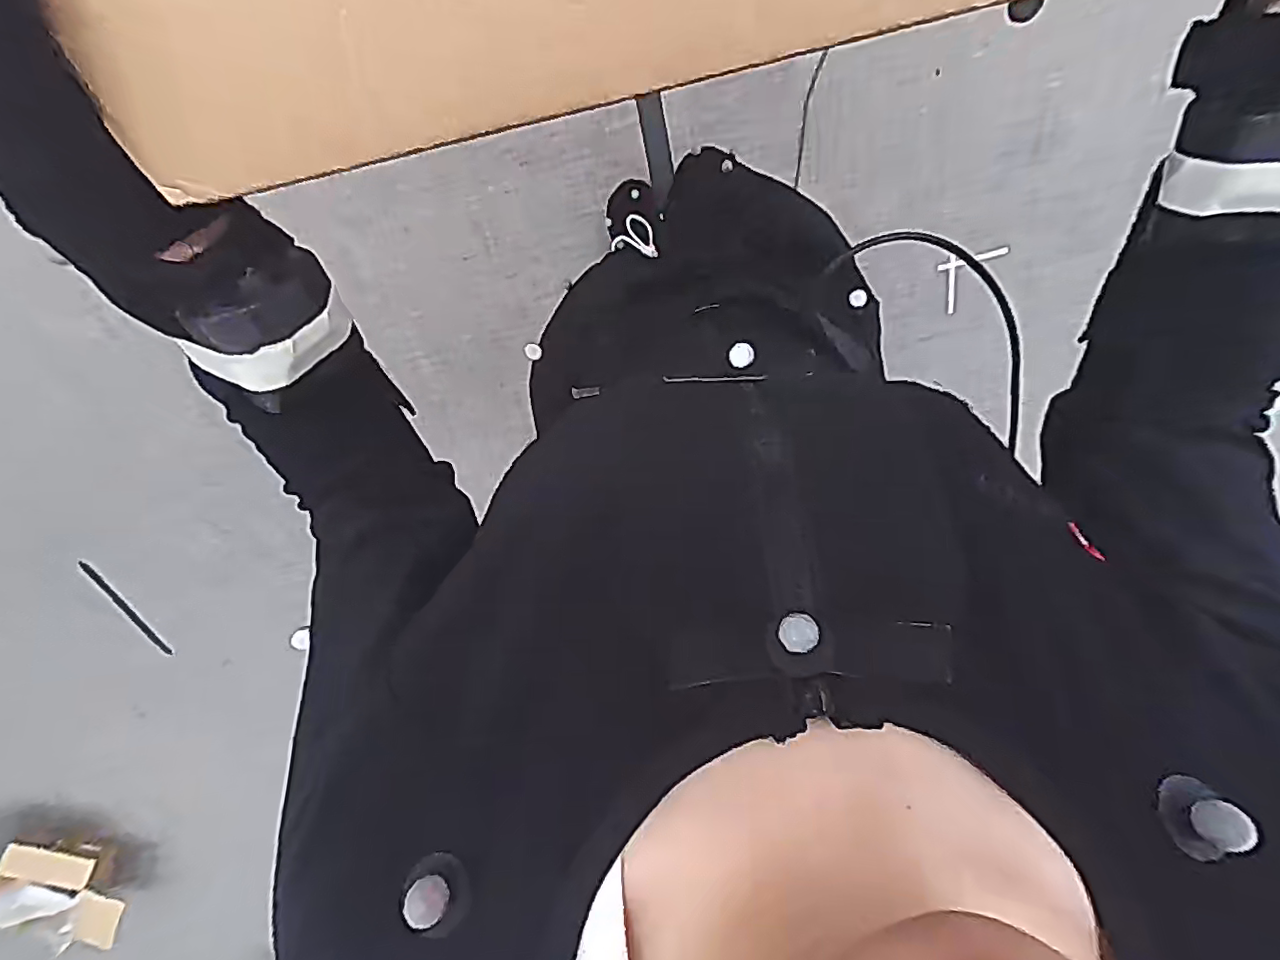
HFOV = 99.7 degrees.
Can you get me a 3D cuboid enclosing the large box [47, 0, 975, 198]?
[{"bbox_3d":[-0.016,-0.355,0.187,0.408,0.320,0.320,-11,133,5],"label":"large box"}]
